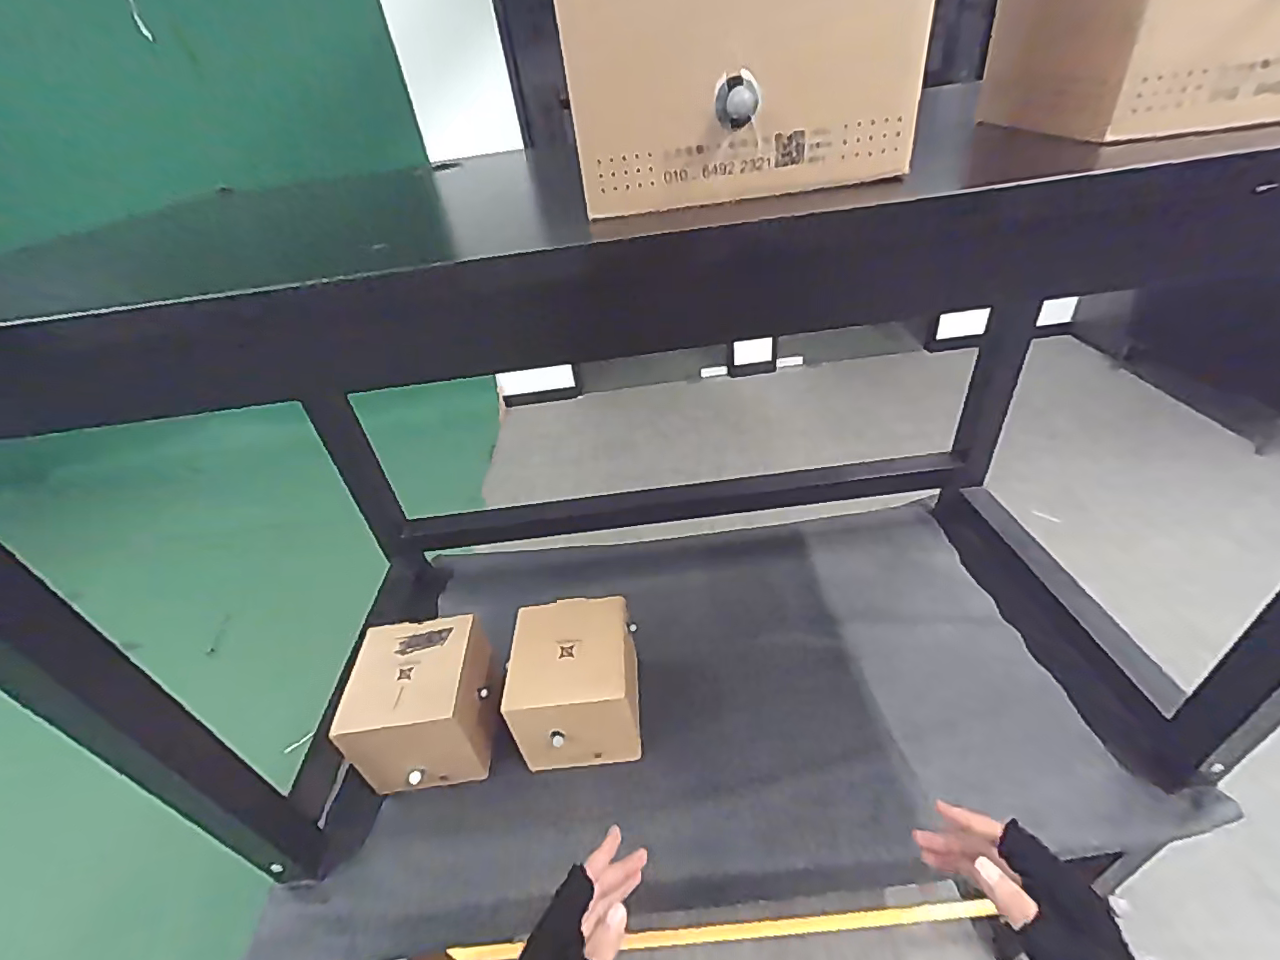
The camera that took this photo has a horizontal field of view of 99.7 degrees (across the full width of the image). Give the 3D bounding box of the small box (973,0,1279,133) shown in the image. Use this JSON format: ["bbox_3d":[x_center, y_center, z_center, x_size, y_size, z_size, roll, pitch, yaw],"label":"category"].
[{"bbox_3d":[0.313,-0.297,0.292,0.168,0.176,0.179,-2,36,9],"label":"small box"}]

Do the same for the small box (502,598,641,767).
[{"bbox_3d":[-0.092,0.305,0.807,0.168,0.176,0.179,-7,35,2],"label":"small box"}]

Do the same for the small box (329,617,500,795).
[{"bbox_3d":[-0.318,0.335,0.808,0.168,0.176,0.179,-8,35,1],"label":"small box"}]
